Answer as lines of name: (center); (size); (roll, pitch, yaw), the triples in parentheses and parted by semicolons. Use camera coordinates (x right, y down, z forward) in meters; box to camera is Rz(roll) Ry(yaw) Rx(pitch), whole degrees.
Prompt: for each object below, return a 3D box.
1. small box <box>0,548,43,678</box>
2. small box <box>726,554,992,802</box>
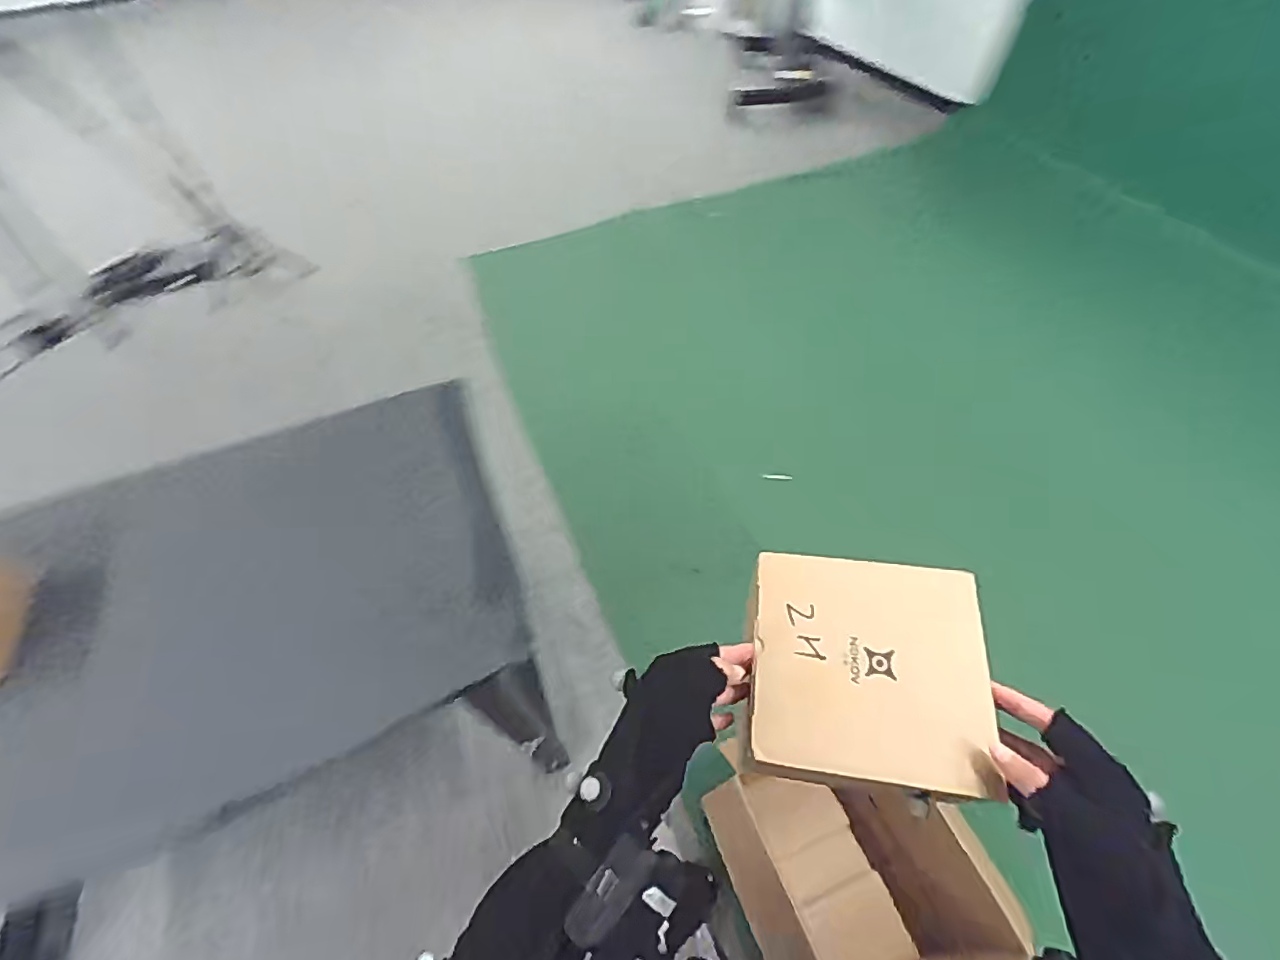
small box: (-0.980, 0.181, 0.725); (0.168, 0.176, 0.179); (-17, 56, -10)
small box: (0.174, 0.181, 0.487); (0.179, 0.176, 0.168); (4, 60, 9)
